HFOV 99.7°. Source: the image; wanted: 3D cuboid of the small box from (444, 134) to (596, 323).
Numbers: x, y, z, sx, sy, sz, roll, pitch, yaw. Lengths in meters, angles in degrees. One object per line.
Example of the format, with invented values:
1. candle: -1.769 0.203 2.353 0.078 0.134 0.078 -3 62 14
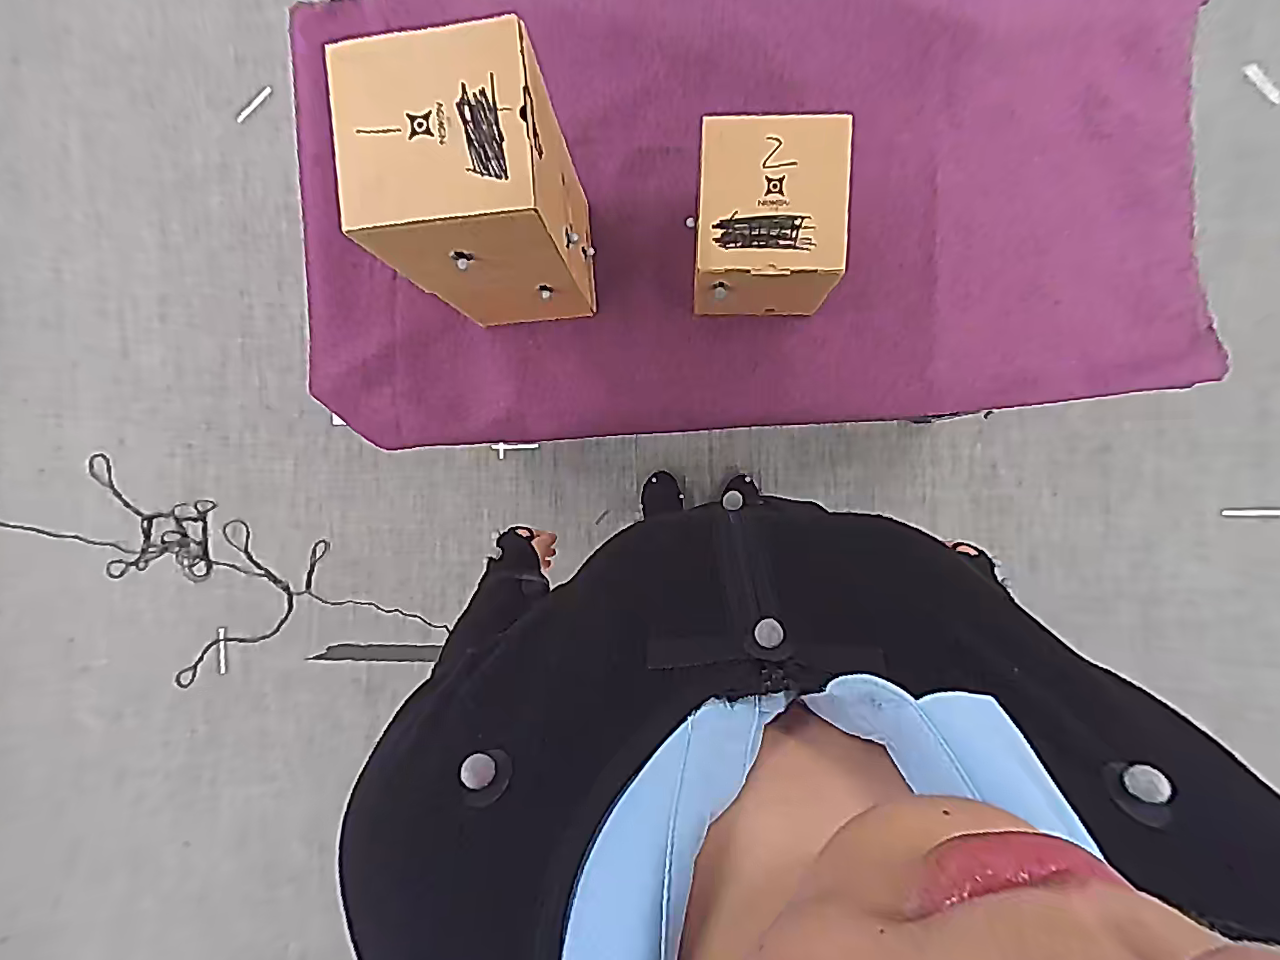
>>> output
1. small box: -0.161 -0.314 0.710 0.179 0.176 0.168 -5 91 4

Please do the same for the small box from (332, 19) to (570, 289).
1. small box: -0.171 -0.306 0.545 0.179 0.176 0.168 -5 90 4
